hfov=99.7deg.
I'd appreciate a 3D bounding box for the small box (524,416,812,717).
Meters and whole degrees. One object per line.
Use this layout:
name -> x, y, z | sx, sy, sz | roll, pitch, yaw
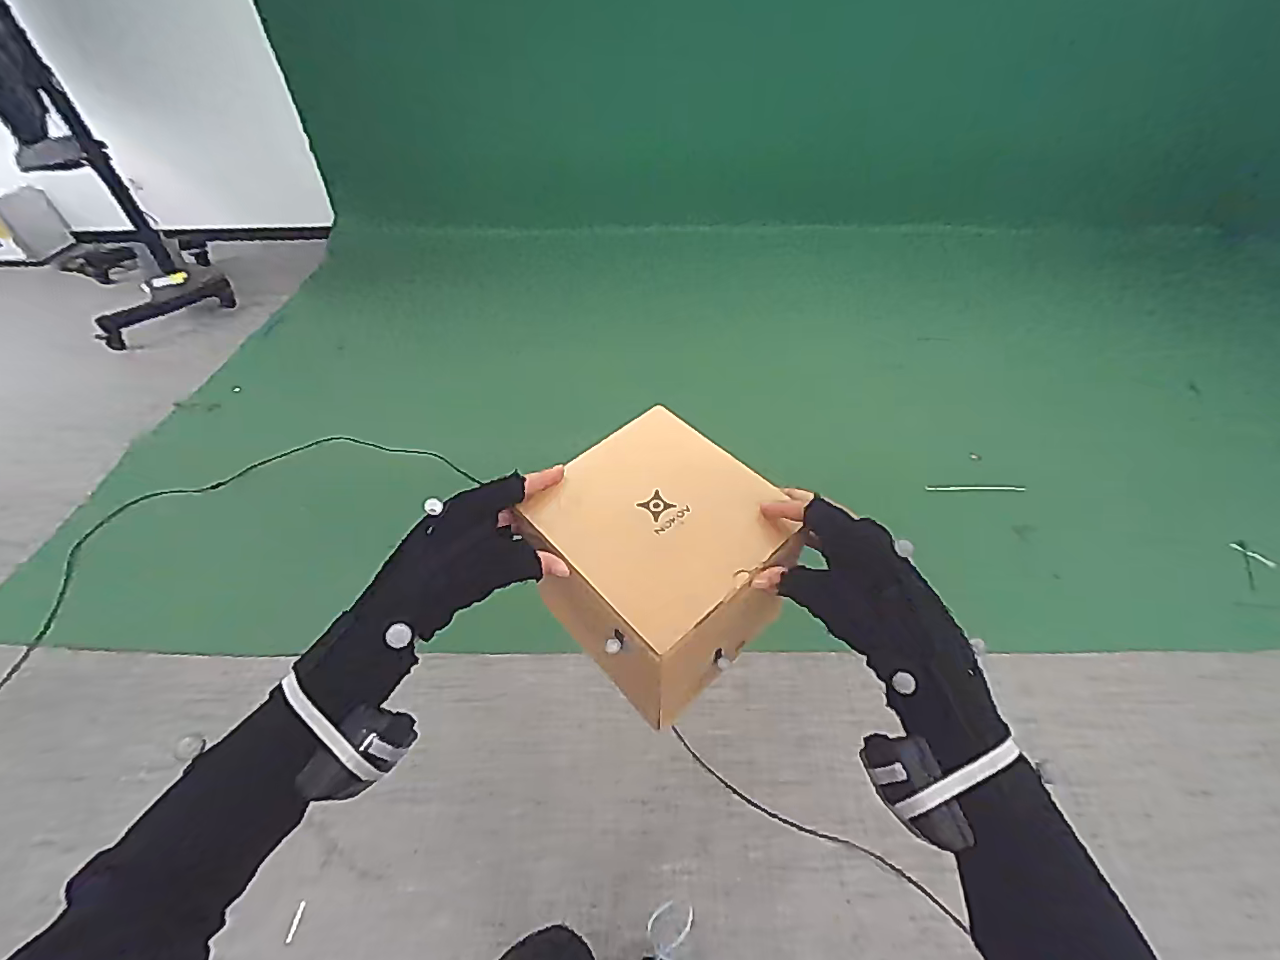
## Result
small box -> 0.019, 0.079, 0.494 | 0.168, 0.176, 0.179 | -34, 59, -25
